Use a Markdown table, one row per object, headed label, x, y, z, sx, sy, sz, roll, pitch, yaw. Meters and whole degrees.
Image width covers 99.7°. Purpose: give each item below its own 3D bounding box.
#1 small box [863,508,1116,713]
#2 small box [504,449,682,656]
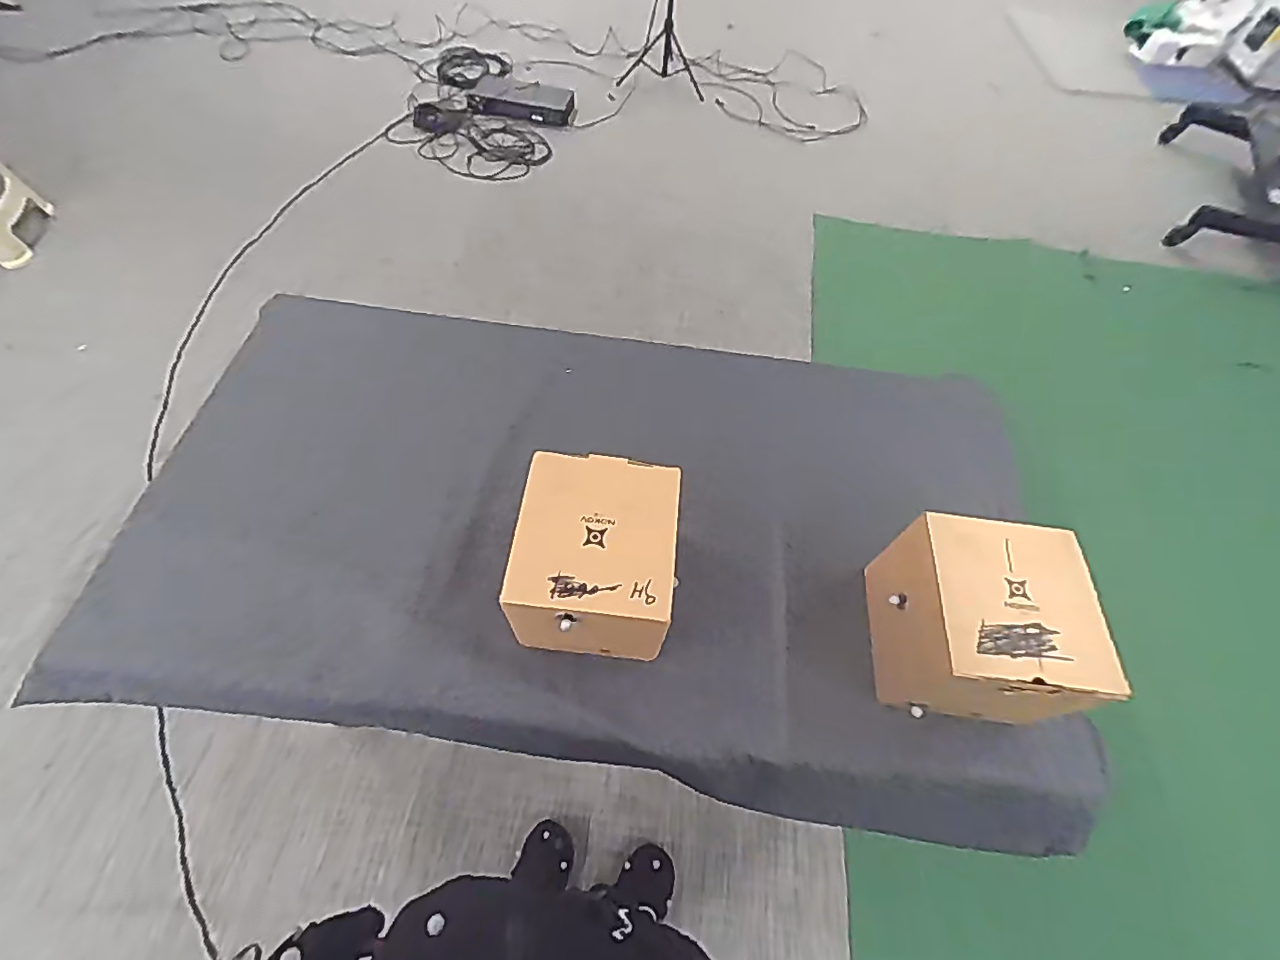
| label | x | y | z | sx | sy | sz | roll | pitch | yaw |
| --- | --- | --- | --- | --- | --- | --- | --- | --- | --- |
| small box | 0.373 | 0.156 | 0.619 | 0.168 | 0.176 | 0.179 | 8 | 58 | 1 |
| small box | -0.049 | 0.089 | 0.630 | 0.168 | 0.176 | 0.179 | 7 | 59 | 0 |
